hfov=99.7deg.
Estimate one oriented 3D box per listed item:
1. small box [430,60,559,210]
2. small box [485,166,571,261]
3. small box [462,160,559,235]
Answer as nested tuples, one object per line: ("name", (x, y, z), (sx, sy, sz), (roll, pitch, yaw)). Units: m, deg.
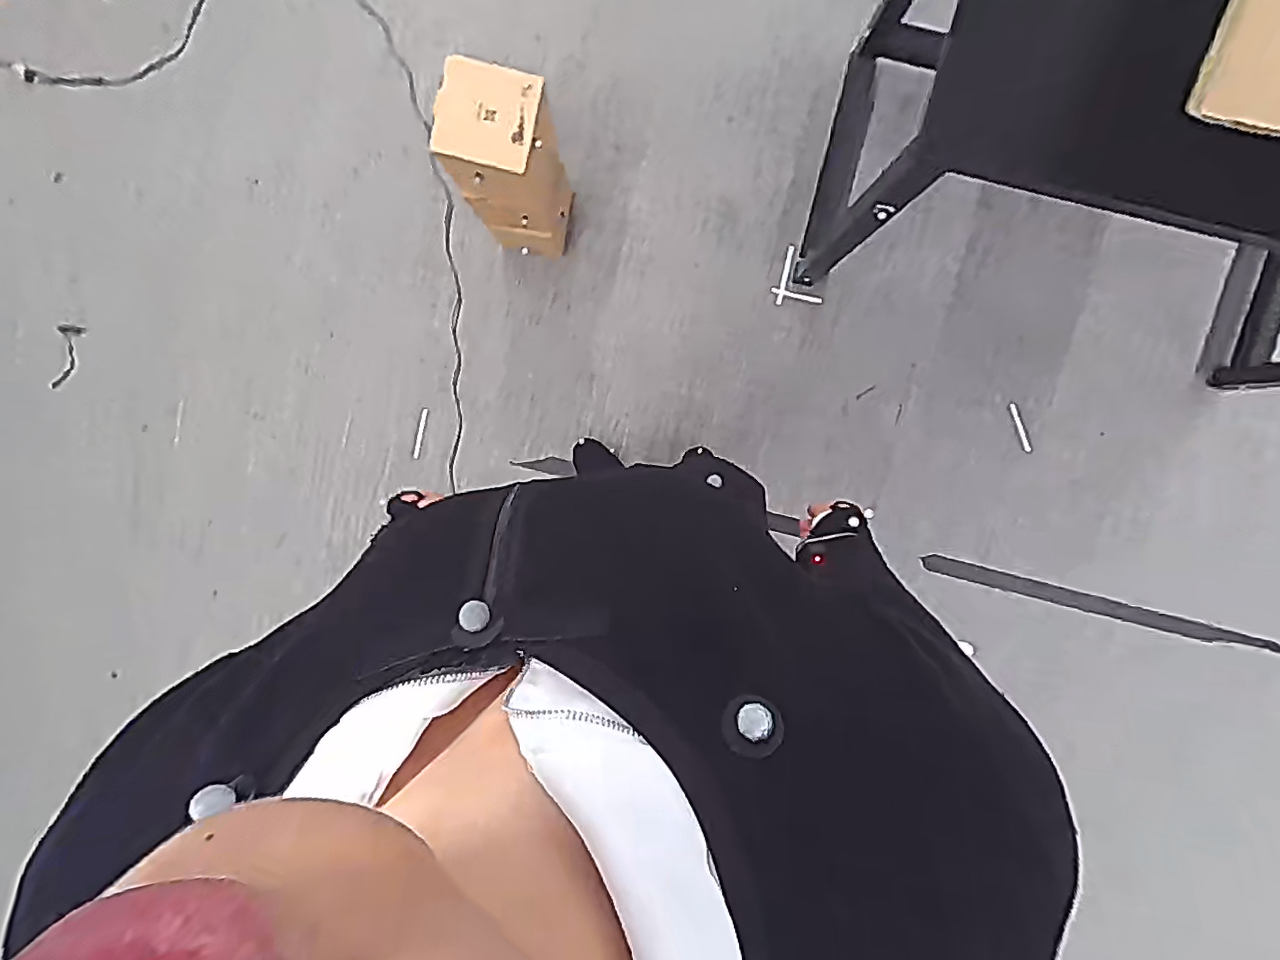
("small box", (-0.267, -0.641, 1.028), (0.179, 0.176, 0.168), (14, 96, 0))
("small box", (-0.272, -0.672, 1.353), (0.168, 0.176, 0.179), (10, 97, 1))
("small box", (-0.277, -0.662, 1.191), (0.168, 0.176, 0.179), (7, 94, 0))
